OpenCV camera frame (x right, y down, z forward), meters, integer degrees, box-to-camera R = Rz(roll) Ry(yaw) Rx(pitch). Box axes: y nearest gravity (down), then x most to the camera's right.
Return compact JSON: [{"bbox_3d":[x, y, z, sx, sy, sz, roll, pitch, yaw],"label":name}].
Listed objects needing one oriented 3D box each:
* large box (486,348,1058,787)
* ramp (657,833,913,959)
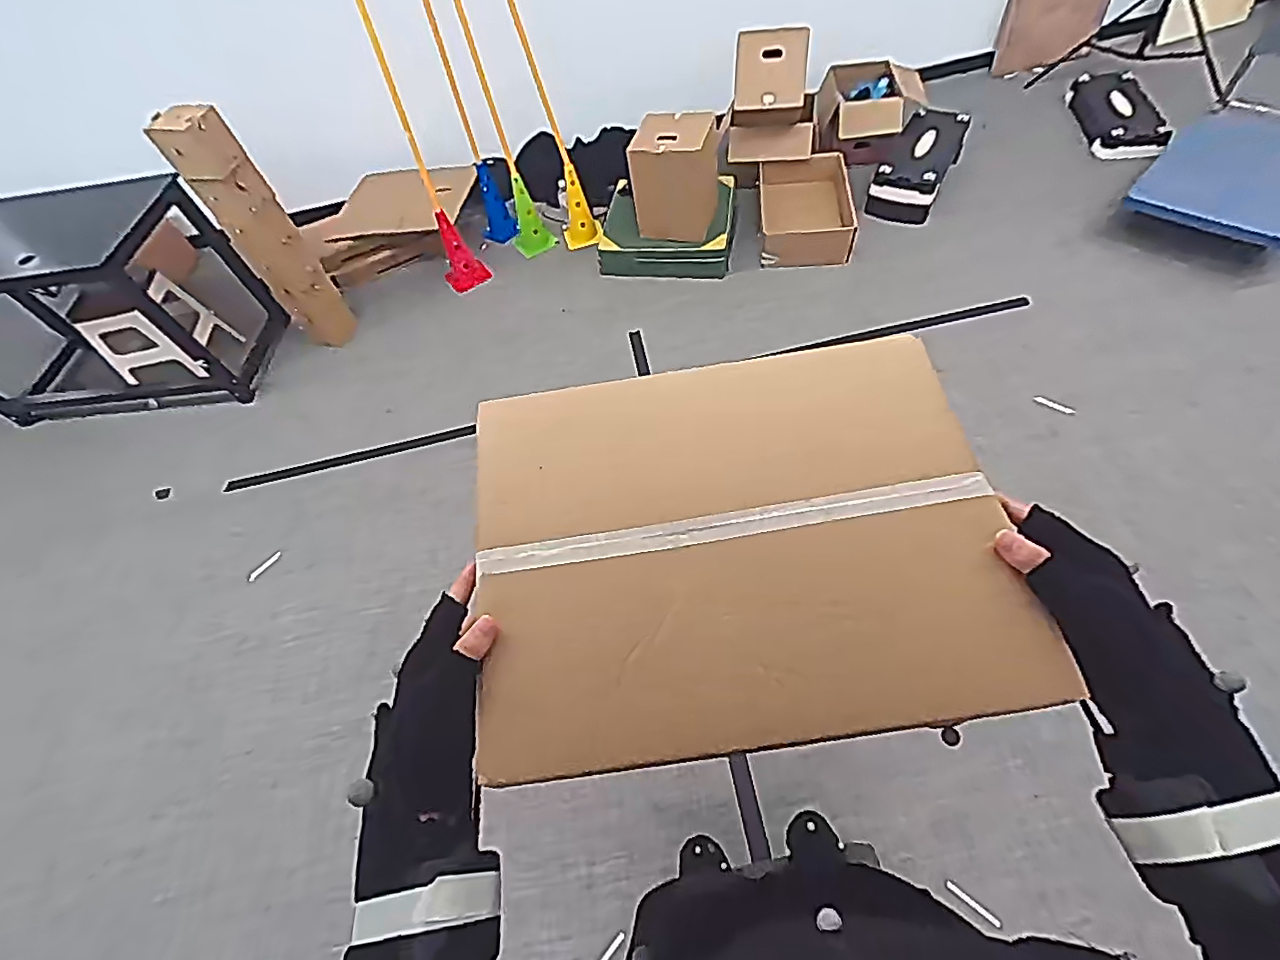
[{"bbox_3d":[0.087,0.108,0.570,0.408,0.320,0.320,-9,63,1],"label":"large box"},{"bbox_3d":[0.373,1.271,0.995,0.509,0.206,0.991,-14,57,-1],"label":"ramp"}]
